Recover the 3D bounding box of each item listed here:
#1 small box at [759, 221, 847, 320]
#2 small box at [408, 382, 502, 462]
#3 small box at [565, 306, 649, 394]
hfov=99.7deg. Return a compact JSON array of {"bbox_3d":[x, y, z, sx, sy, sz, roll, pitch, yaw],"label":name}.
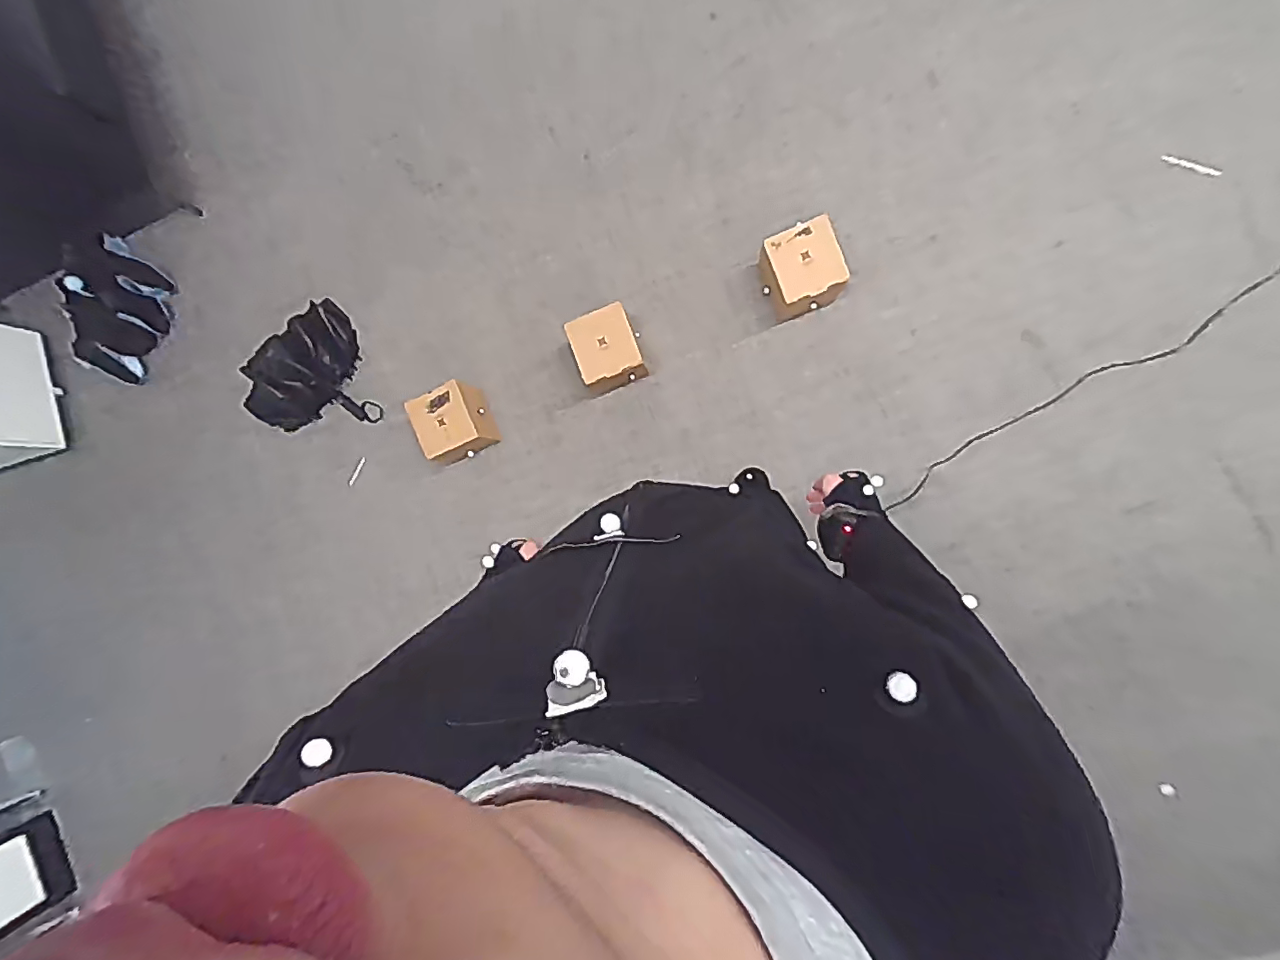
[{"bbox_3d":[0.423,-0.539,1.428,0.168,0.176,0.179,-20,88,8],"label":"small box"},{"bbox_3d":[-0.527,-0.159,1.560,0.168,0.176,0.179,-23,88,8],"label":"small box"},{"bbox_3d":[-0.084,-0.350,1.502,0.168,0.176,0.179,-22,86,6],"label":"small box"}]
